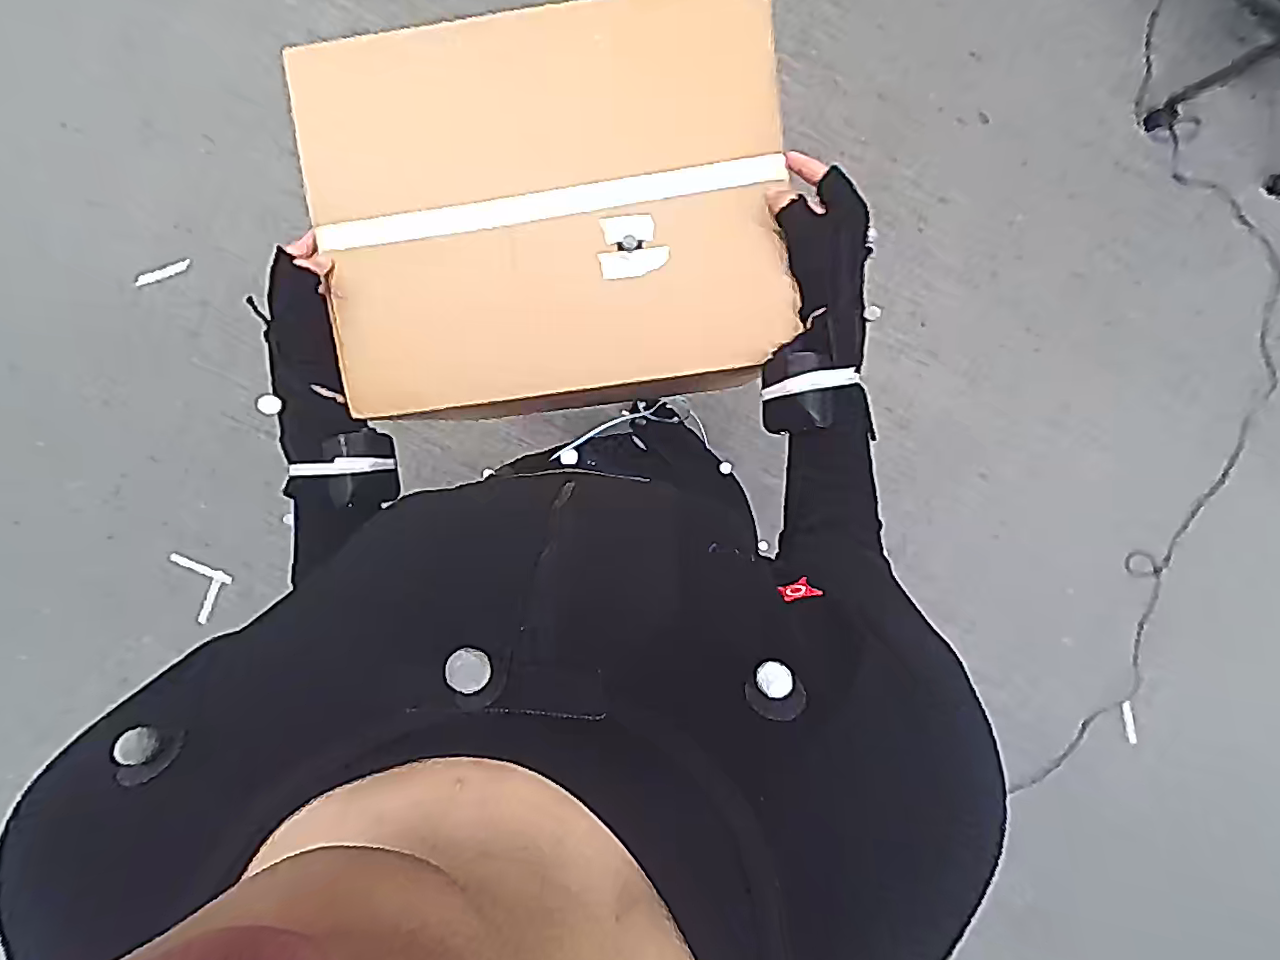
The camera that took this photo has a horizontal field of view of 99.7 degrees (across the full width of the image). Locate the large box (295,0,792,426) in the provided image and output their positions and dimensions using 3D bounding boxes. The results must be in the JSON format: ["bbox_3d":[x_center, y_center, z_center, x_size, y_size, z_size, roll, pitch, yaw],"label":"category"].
[{"bbox_3d":[-0.081,-0.245,0.622,0.408,0.320,0.320,-9,96,2],"label":"large box"}]
